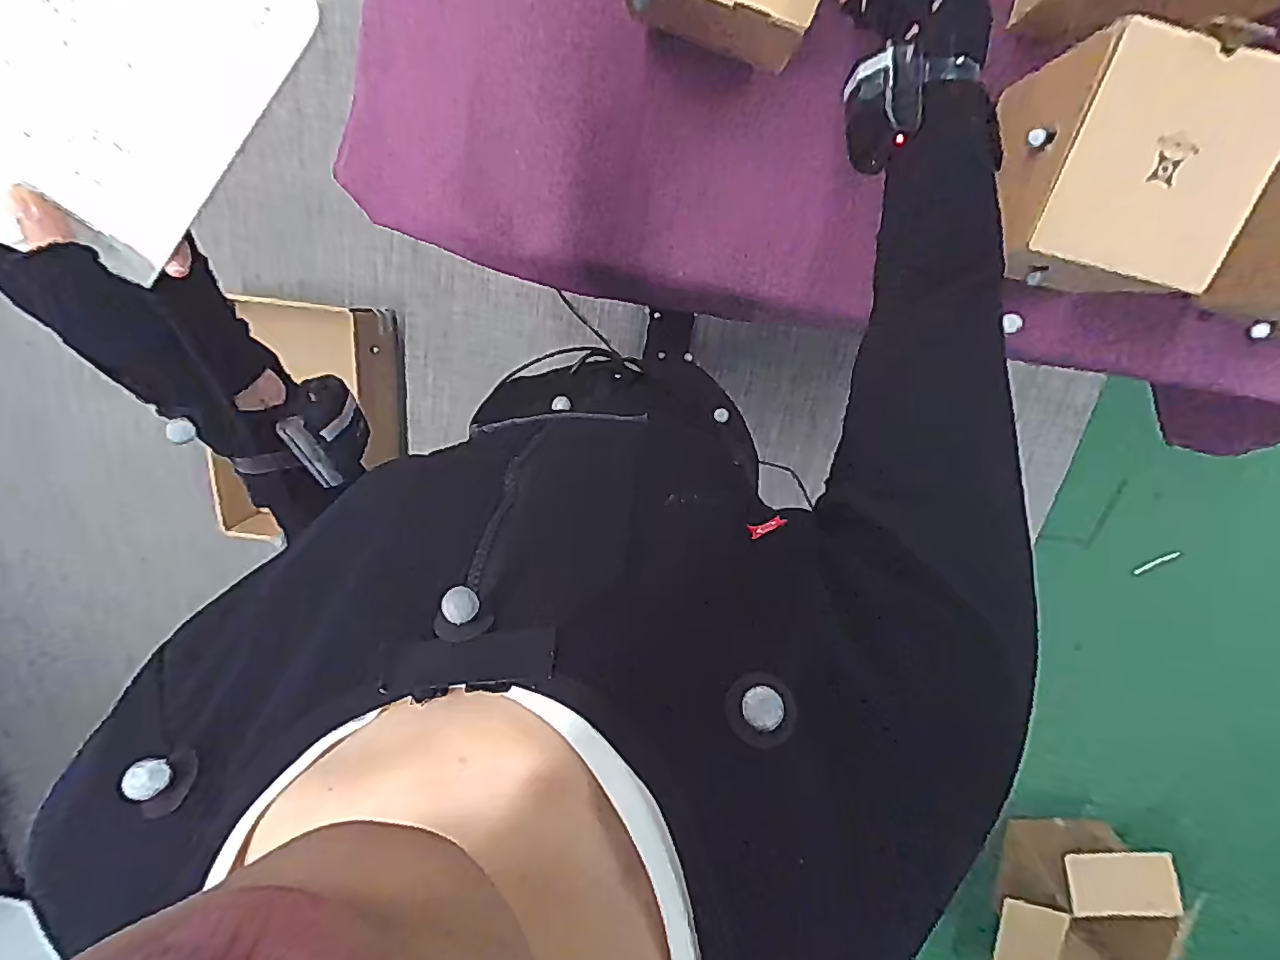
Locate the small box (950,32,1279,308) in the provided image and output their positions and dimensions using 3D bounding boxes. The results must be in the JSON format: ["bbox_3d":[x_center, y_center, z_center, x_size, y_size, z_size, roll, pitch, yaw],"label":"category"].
[{"bbox_3d":[0.442,-0.280,0.530,0.168,0.176,0.179,15,110,-2],"label":"small box"}]

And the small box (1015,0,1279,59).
[{"bbox_3d":[0.467,-0.490,0.455,0.168,0.176,0.179,12,109,-1],"label":"small box"}]
